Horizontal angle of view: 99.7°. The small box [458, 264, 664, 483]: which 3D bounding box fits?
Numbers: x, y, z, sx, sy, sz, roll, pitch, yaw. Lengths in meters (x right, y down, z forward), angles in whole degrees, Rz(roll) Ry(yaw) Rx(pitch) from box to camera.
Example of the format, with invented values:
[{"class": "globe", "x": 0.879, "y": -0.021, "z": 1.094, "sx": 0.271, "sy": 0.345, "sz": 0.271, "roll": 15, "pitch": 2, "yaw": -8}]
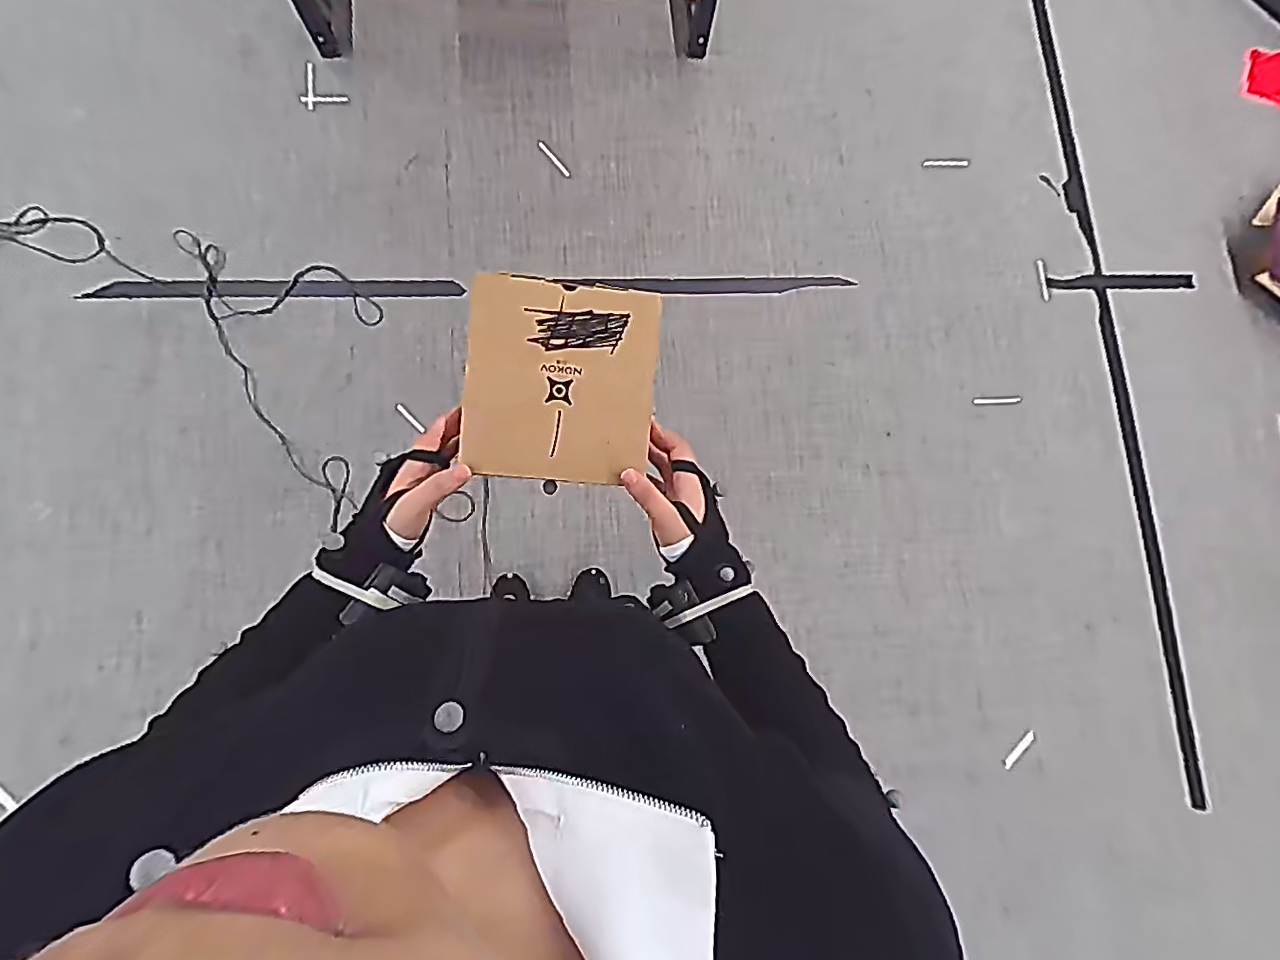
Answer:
[{"class": "small box", "x": -0.077, "y": -0.091, "z": 0.546, "sx": 0.168, "sy": 0.176, "sz": 0.179, "roll": 5, "pitch": 90, "yaw": -7}]
